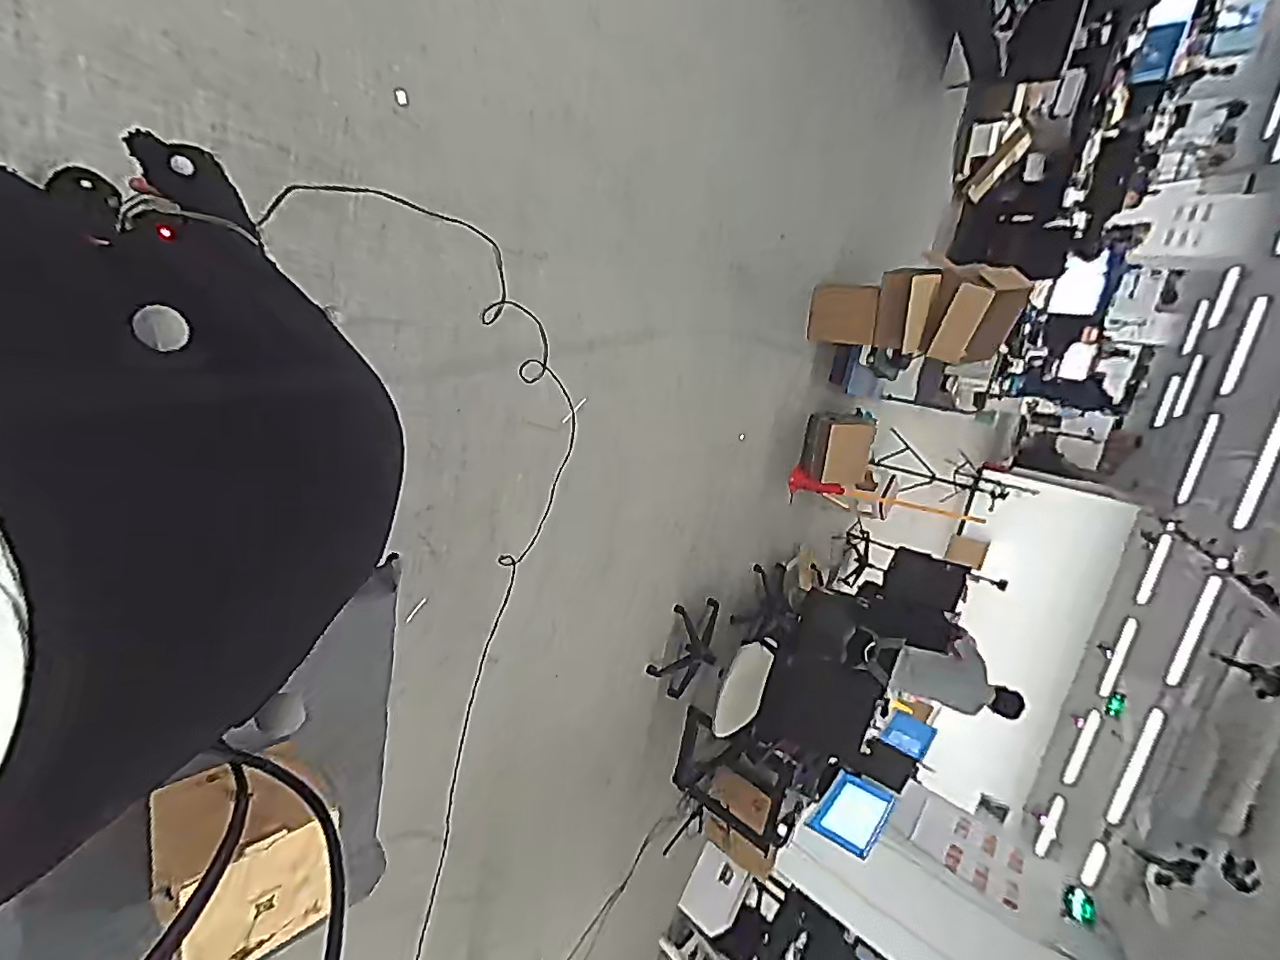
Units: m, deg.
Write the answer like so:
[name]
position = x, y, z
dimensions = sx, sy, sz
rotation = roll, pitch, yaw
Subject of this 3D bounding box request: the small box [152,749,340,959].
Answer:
[small box]
position = -0.518, 0.490, 0.713
dimensions = 0.168, 0.176, 0.179
rotation = -6, 110, -49
